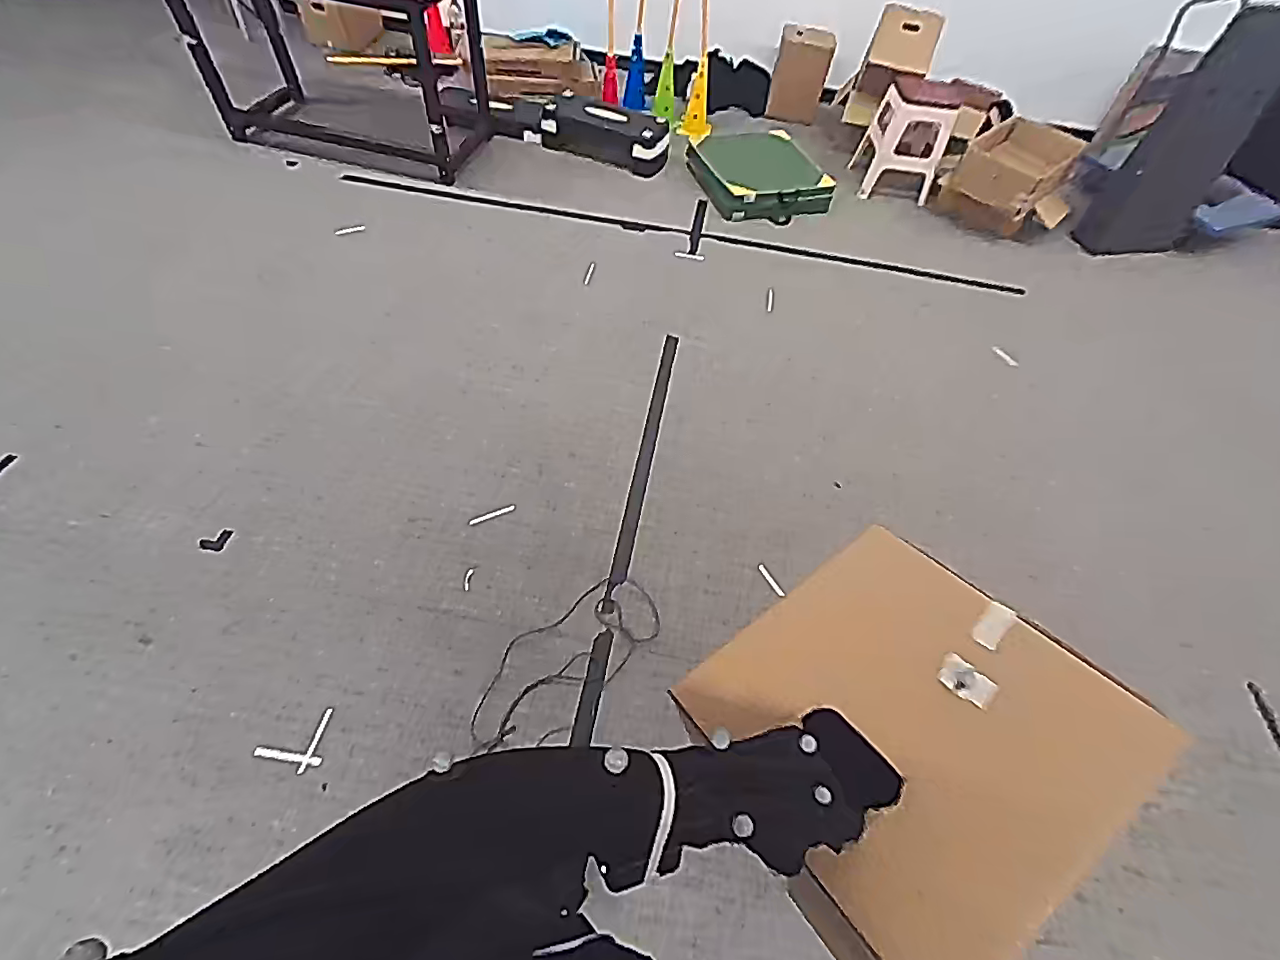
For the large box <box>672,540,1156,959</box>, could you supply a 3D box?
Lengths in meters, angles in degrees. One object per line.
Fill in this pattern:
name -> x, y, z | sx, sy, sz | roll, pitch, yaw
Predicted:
large box -> 0.283, 0.352, 0.646 | 0.320, 0.408, 0.320 | -35, 47, -15
